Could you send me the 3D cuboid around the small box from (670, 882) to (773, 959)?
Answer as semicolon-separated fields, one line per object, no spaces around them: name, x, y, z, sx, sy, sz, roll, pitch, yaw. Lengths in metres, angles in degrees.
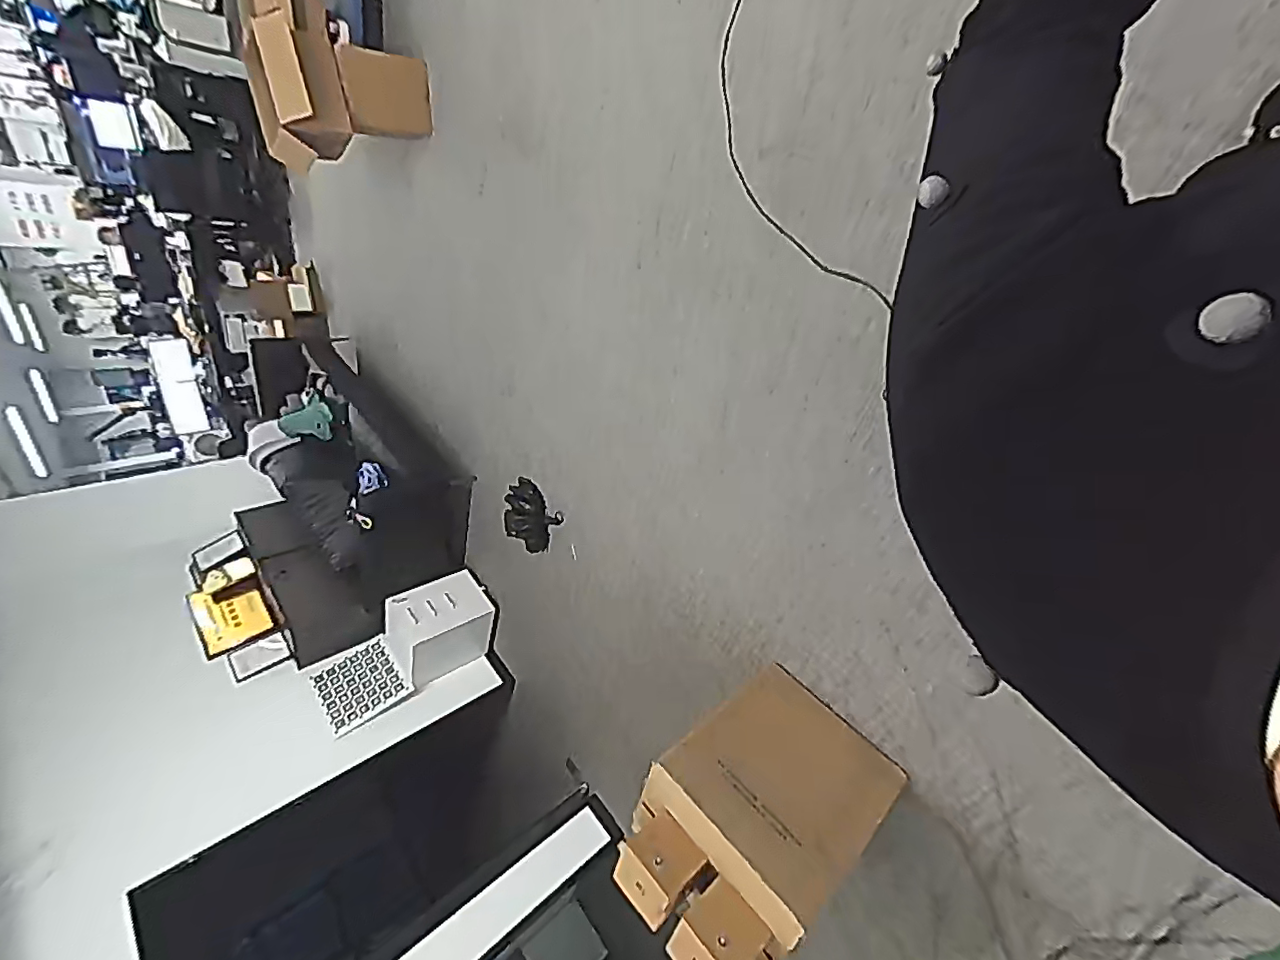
small box;0.210;1.197;1.386;0.179;0.176;0.168;35;122;35

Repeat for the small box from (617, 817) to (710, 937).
small box;0.067;1.096;1.509;0.179;0.176;0.168;34;121;37
